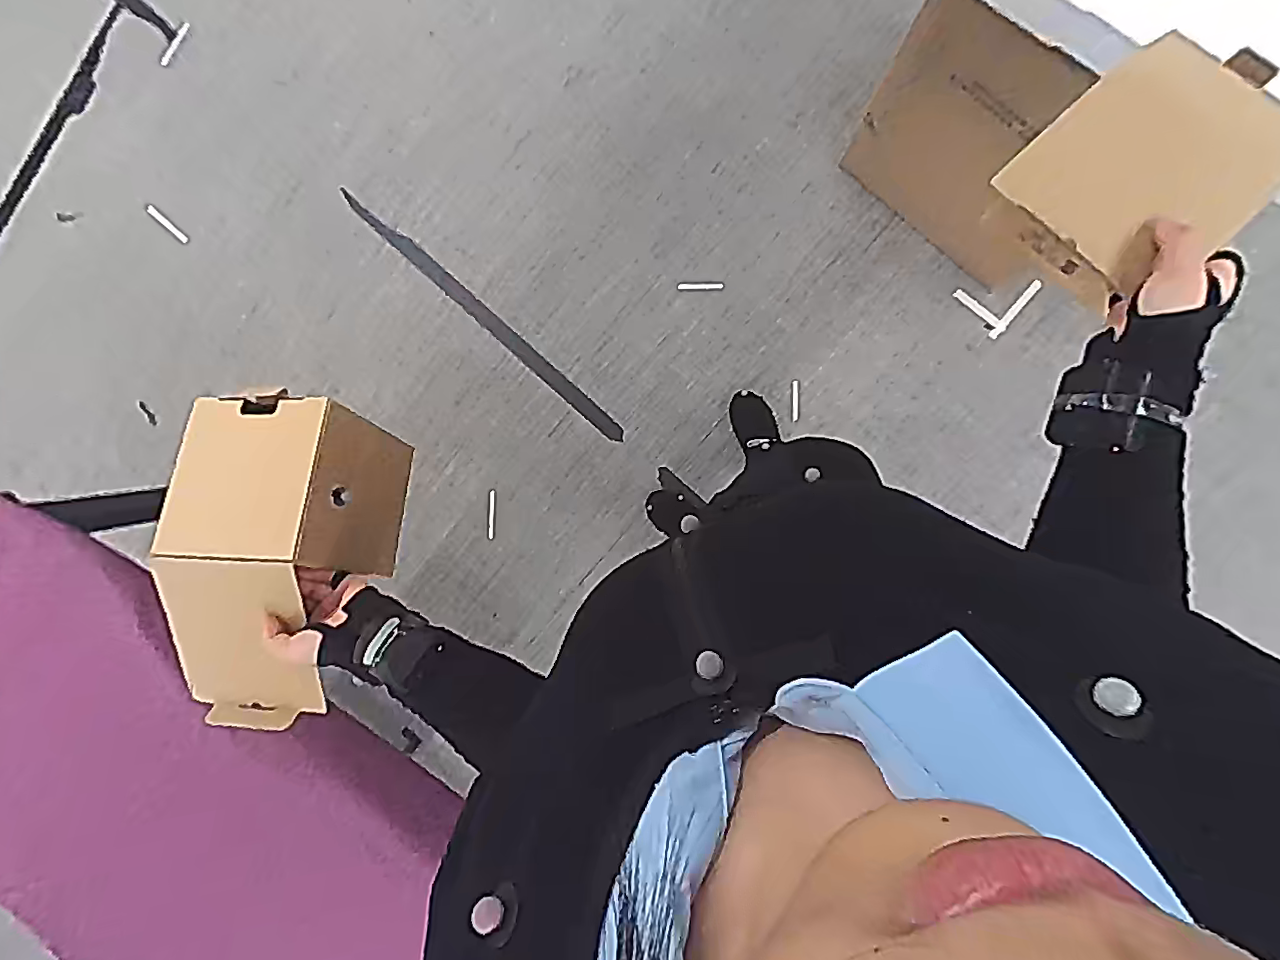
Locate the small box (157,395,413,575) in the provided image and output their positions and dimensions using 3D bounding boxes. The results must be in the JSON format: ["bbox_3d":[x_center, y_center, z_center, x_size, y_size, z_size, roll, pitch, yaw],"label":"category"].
[{"bbox_3d":[-0.392,0.015,0.632,0.168,0.176,0.179,2,74,9],"label":"small box"}]
